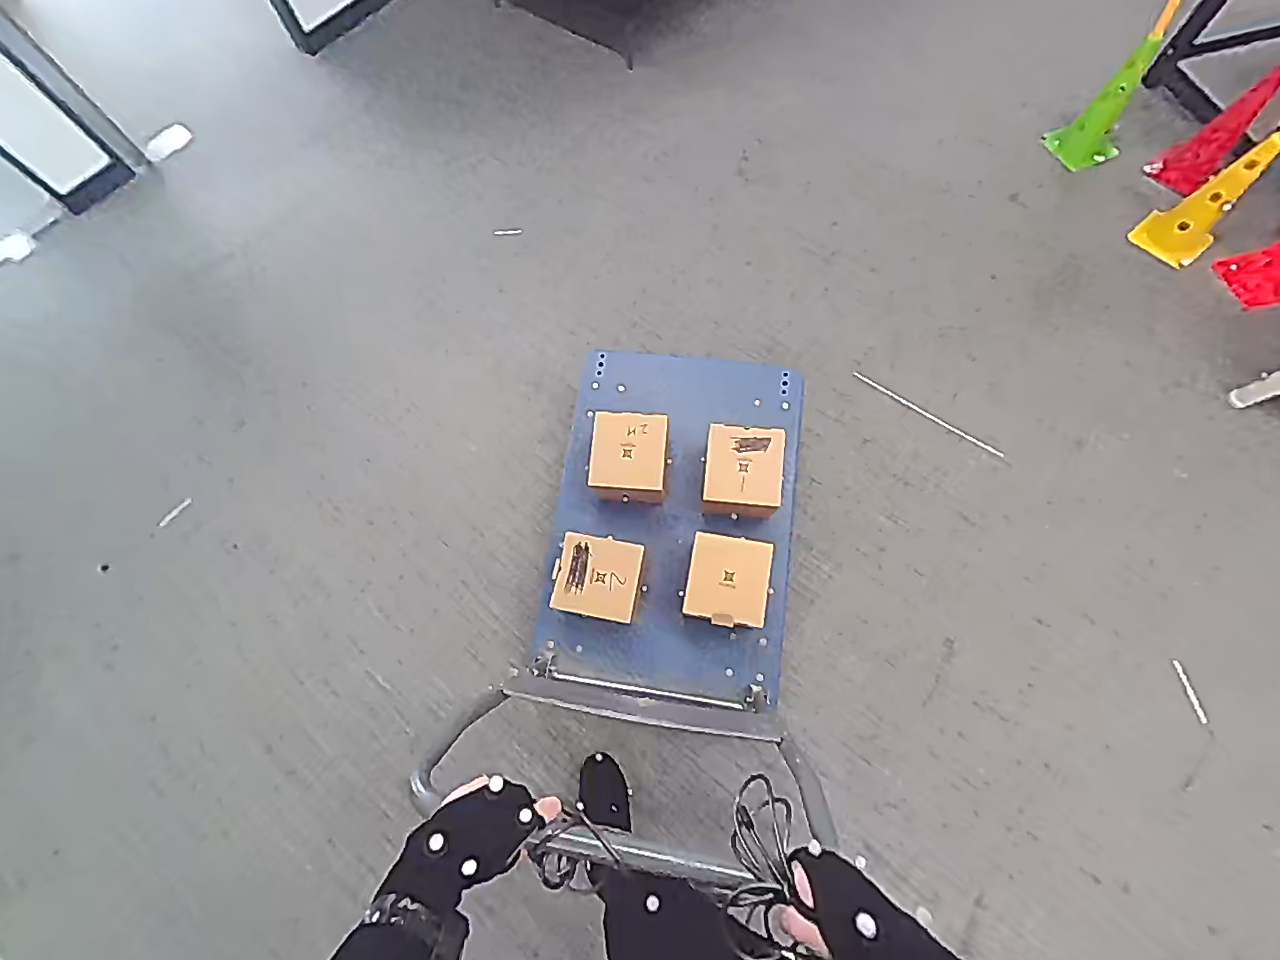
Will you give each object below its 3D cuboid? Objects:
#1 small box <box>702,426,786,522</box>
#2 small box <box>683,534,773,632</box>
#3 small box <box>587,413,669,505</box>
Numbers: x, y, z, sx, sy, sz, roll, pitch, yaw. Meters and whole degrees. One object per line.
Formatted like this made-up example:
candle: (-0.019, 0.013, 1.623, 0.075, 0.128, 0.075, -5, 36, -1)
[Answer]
small box: (0.232, -0.010, 1.240, 0.168, 0.176, 0.179, 6, 78, 7)
small box: (0.188, 0.227, 1.189, 0.168, 0.176, 0.179, 9, 78, 7)
small box: (-0.020, -0.042, 1.270, 0.168, 0.176, 0.179, 5, 77, 5)
